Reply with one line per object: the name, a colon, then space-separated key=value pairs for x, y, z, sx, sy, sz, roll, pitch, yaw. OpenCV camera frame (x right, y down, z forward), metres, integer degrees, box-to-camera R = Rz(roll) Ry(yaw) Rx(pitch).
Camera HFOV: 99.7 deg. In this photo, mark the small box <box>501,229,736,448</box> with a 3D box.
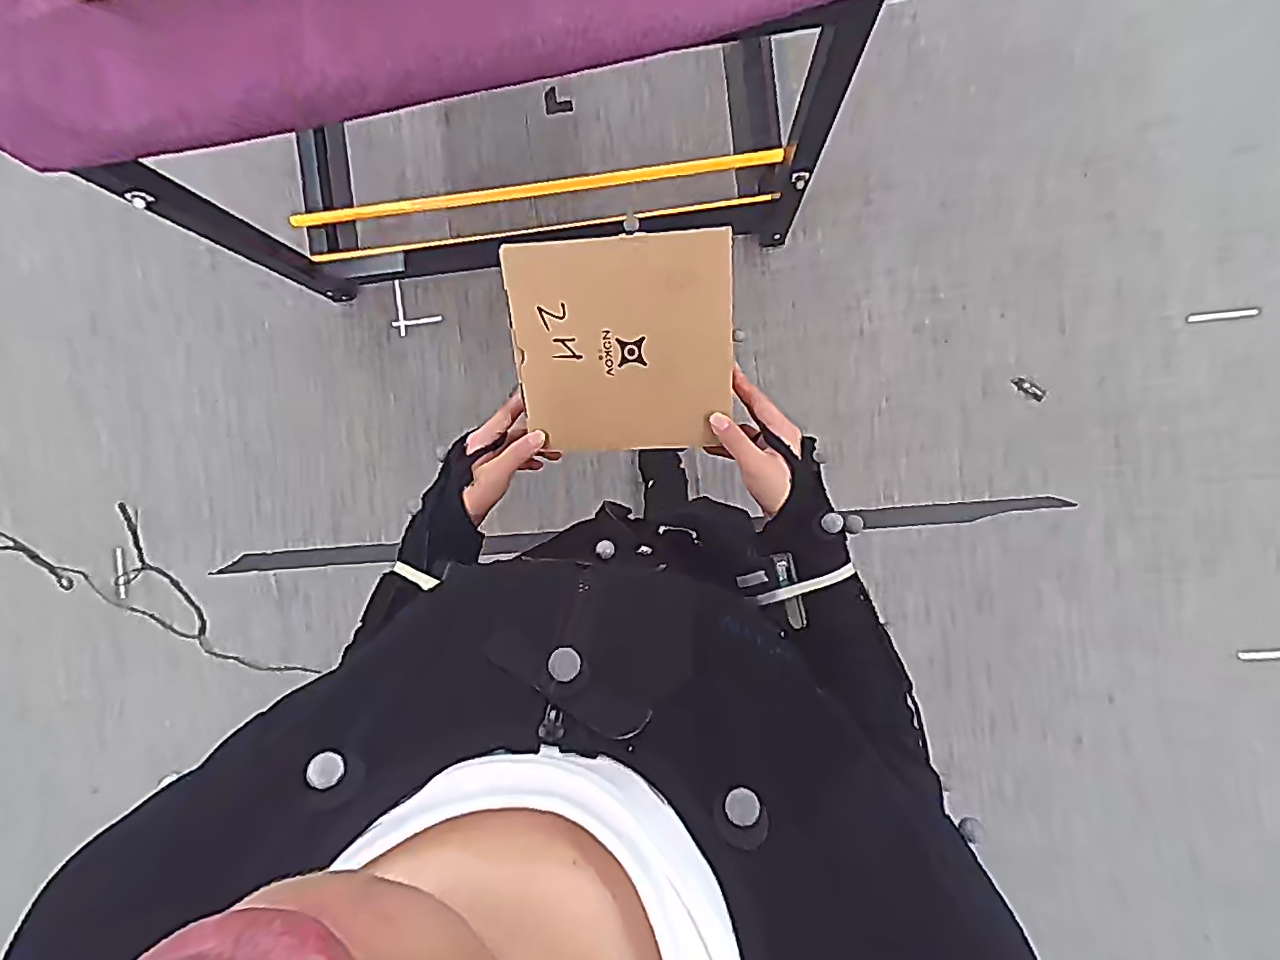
small box: x=-0.006 y=-0.134 z=0.495 sx=0.179 sy=0.176 sz=0.168 roll=-1 pitch=112 yaw=7
